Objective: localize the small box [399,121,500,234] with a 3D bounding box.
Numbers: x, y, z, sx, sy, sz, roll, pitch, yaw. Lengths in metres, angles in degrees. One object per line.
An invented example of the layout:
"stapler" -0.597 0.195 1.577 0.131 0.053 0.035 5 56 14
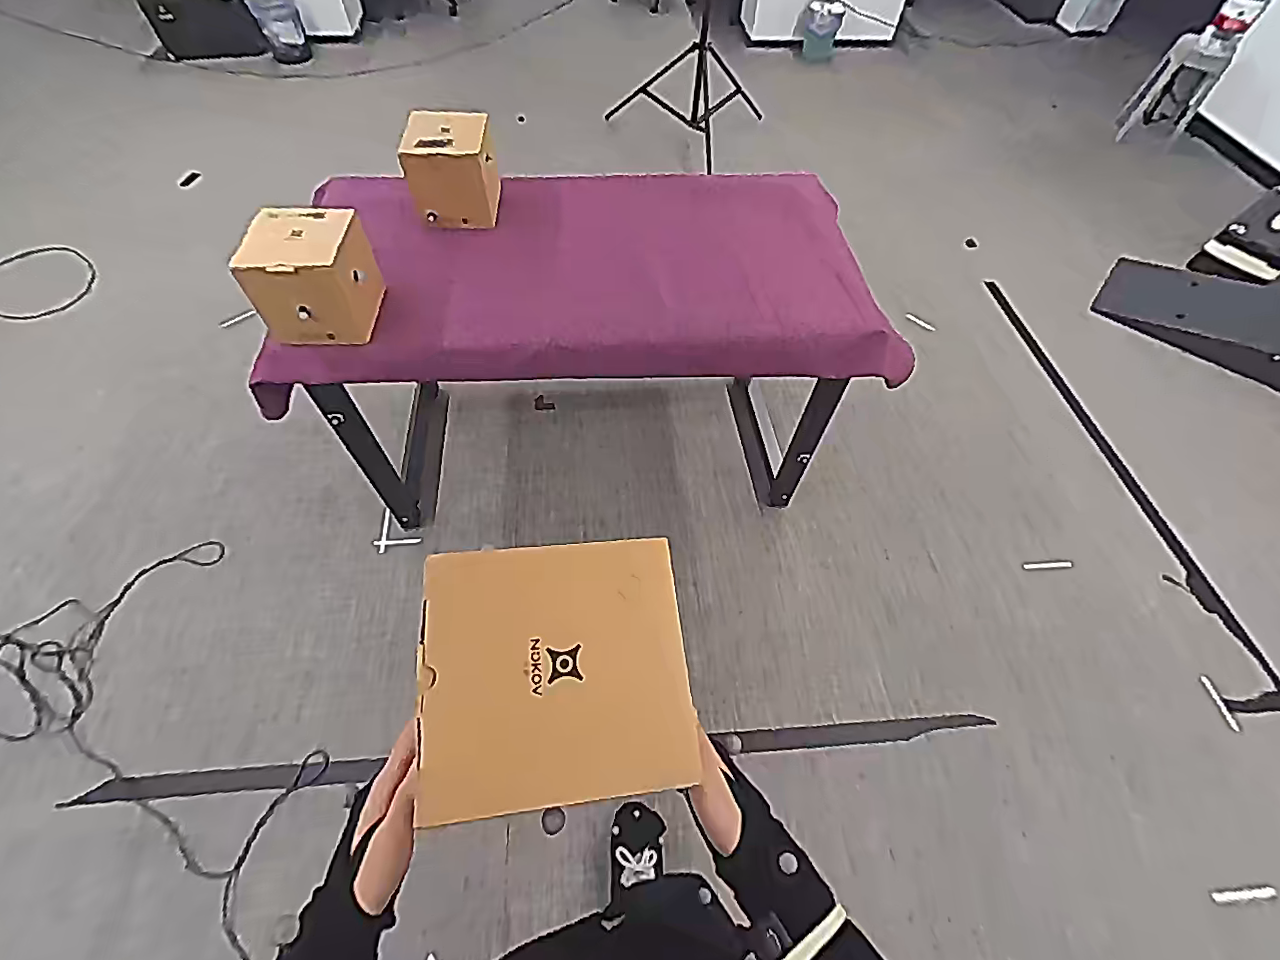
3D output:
"small box" -0.417 -0.677 1.217 0.168 0.176 0.179 -1 57 -3

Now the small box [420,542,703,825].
"small box" -0.063 0.157 0.434 0.179 0.176 0.168 -4 66 -9

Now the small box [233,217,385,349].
"small box" -0.594 -0.359 1.000 0.168 0.176 0.179 -2 57 -4
